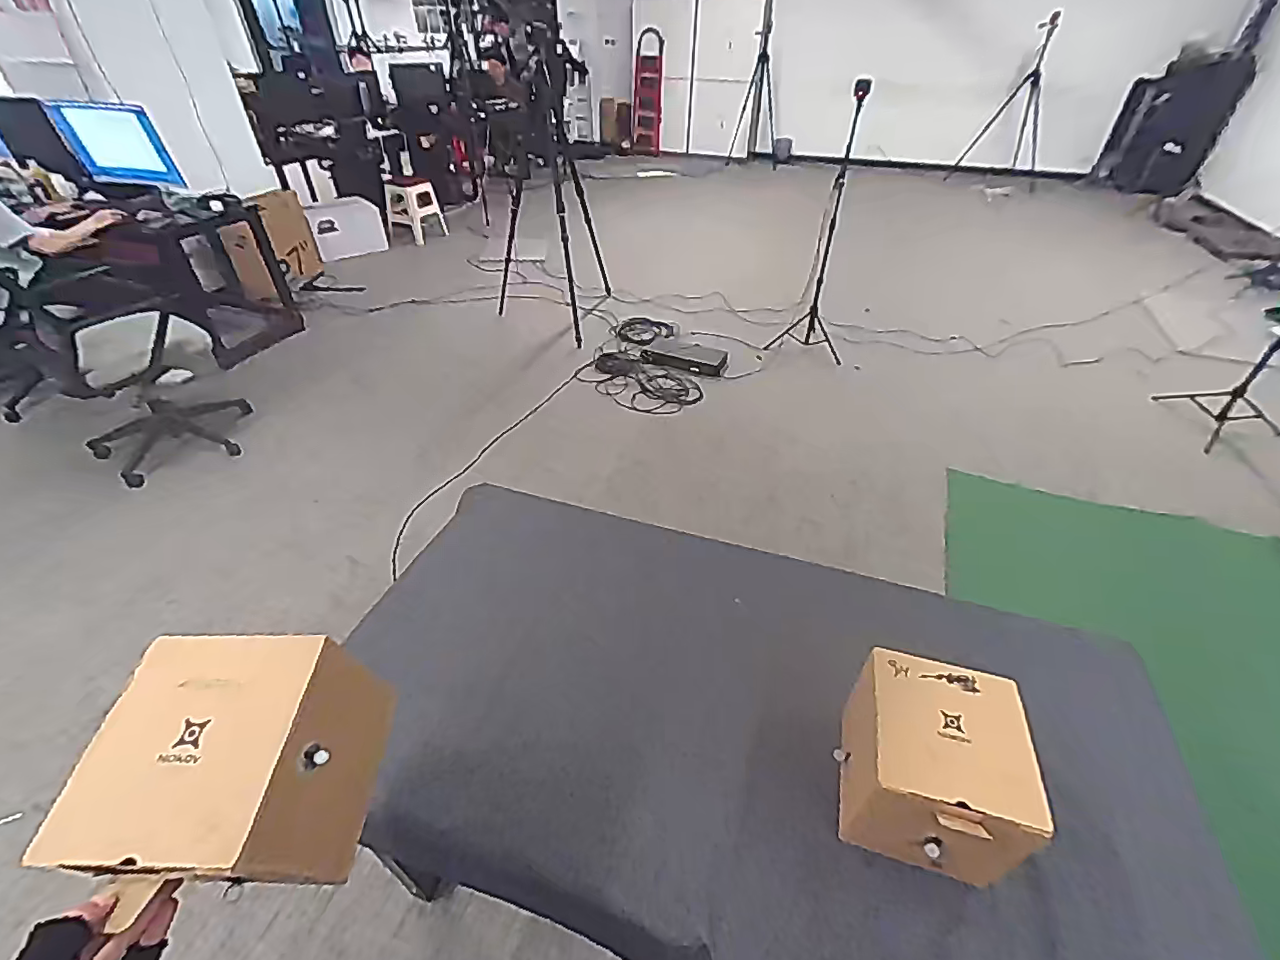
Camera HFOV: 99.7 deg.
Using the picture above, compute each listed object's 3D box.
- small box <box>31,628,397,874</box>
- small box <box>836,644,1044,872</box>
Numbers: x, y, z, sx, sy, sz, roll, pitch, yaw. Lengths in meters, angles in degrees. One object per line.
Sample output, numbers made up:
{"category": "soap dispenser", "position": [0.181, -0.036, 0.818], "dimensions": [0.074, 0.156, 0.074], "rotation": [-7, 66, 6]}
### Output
{"category": "small box", "position": [-0.352, 0.252, 0.497], "dimensions": [0.168, 0.176, 0.179], "rotation": [-1, 51, 3]}
{"category": "small box", "position": [0.345, 0.339, 0.660], "dimensions": [0.168, 0.176, 0.179], "rotation": [12, 42, 12]}
